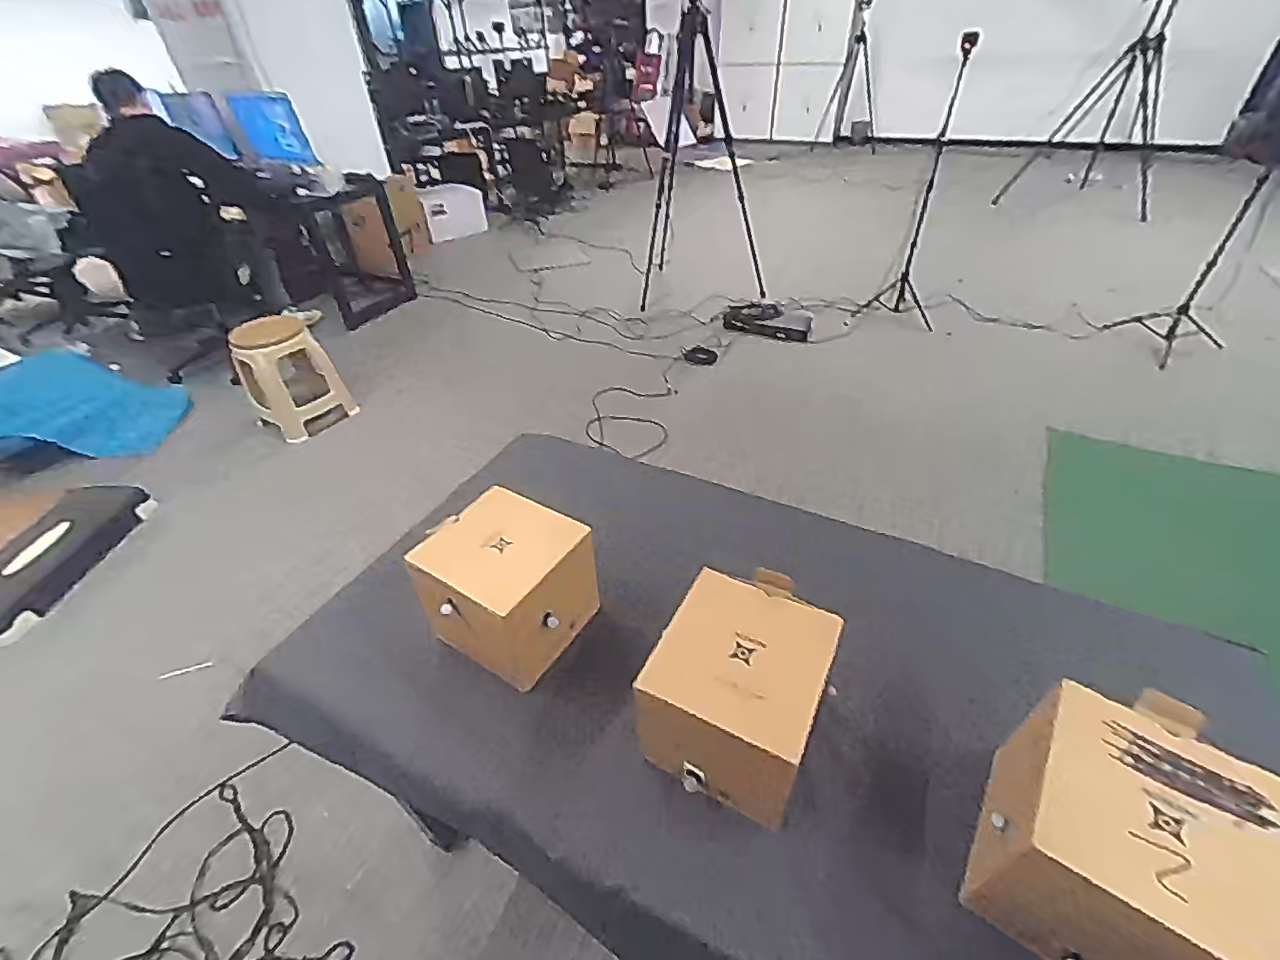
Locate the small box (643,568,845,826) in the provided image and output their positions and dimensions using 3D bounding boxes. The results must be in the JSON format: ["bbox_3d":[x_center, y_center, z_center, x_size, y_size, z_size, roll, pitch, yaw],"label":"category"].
[{"bbox_3d":[0.113,0.236,0.606,0.168,0.176,0.179,17,43,23],"label":"small box"}]

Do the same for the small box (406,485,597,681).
[{"bbox_3d":[-0.173,0.141,0.733,0.179,0.176,0.168,21,44,26],"label":"small box"}]
